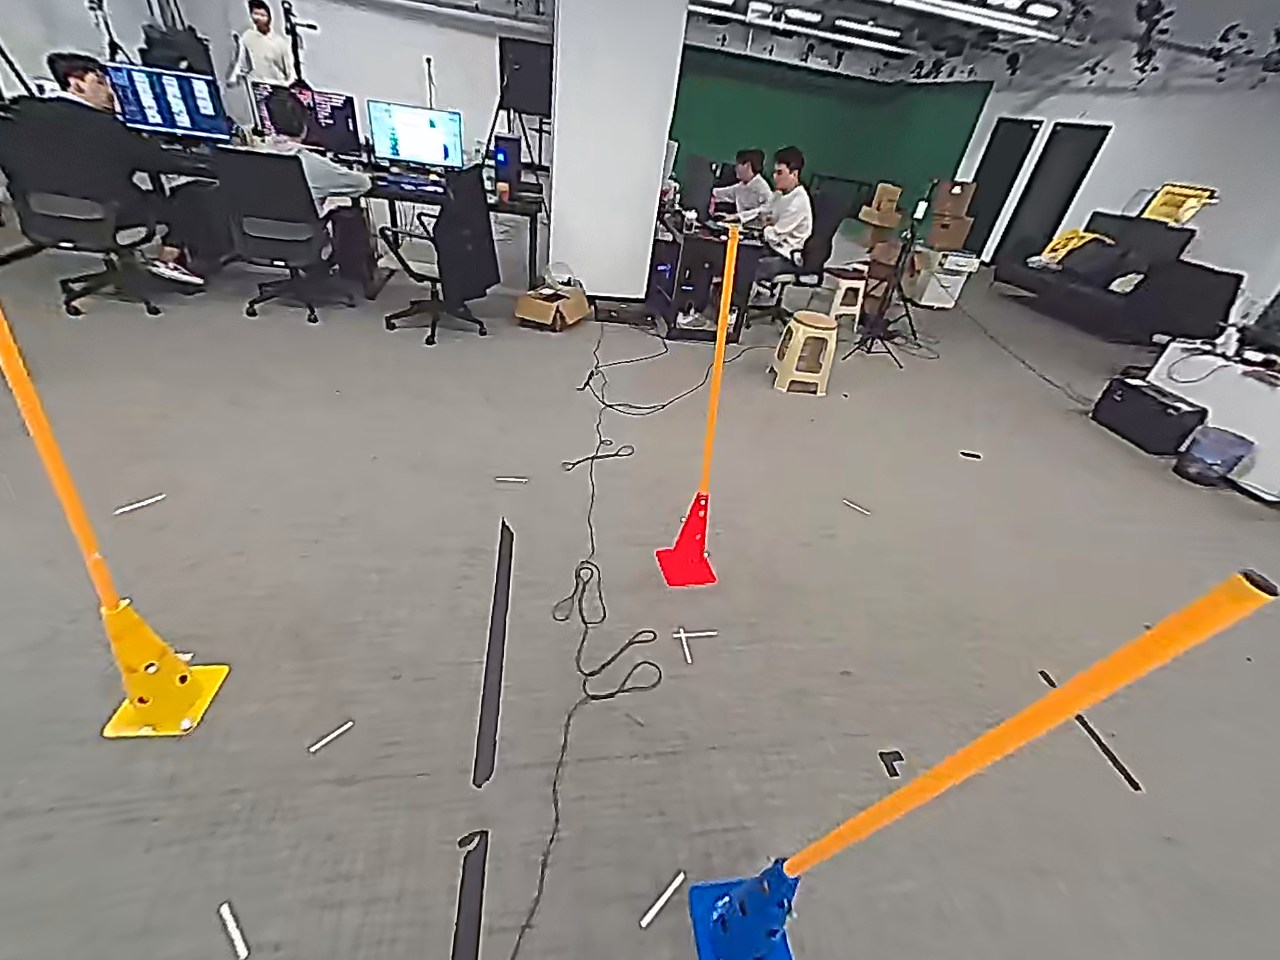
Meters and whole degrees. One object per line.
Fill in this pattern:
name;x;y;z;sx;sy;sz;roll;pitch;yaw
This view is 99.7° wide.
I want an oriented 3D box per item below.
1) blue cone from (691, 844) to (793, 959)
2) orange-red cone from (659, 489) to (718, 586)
blue cone;0.234;0.830;1.059;0.193;0.380;0.192;3;34;-8
orange-red cone;0.202;0.189;1.966;0.199;0.360;0.198;-2;35;-14
